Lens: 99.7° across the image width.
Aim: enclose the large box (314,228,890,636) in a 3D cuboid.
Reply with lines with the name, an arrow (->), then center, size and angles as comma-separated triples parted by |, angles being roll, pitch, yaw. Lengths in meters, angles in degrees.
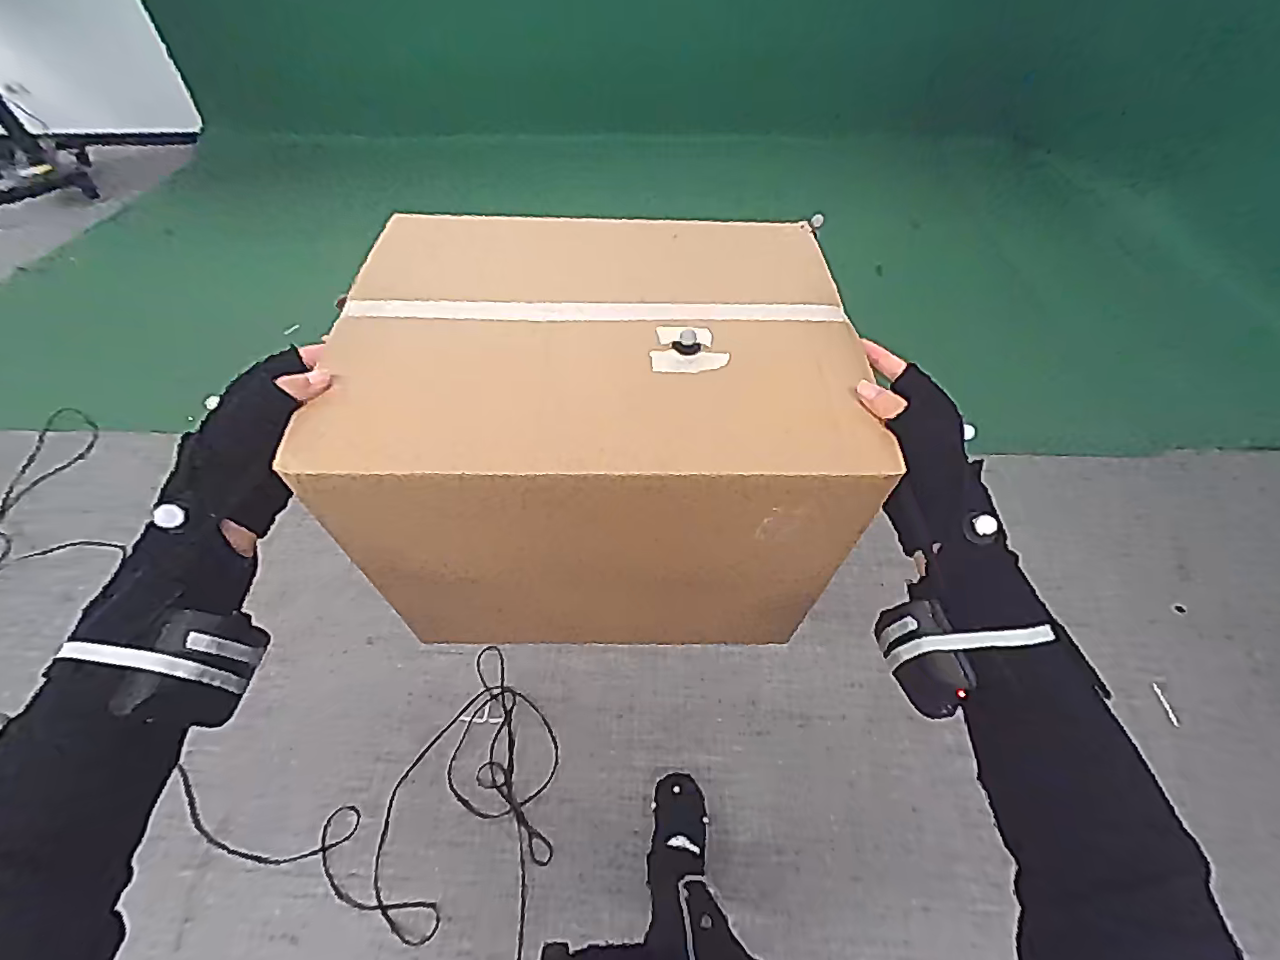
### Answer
large box -> -0.033, -0.040, 0.574 | 0.408, 0.320, 0.320 | 0, 54, -3
